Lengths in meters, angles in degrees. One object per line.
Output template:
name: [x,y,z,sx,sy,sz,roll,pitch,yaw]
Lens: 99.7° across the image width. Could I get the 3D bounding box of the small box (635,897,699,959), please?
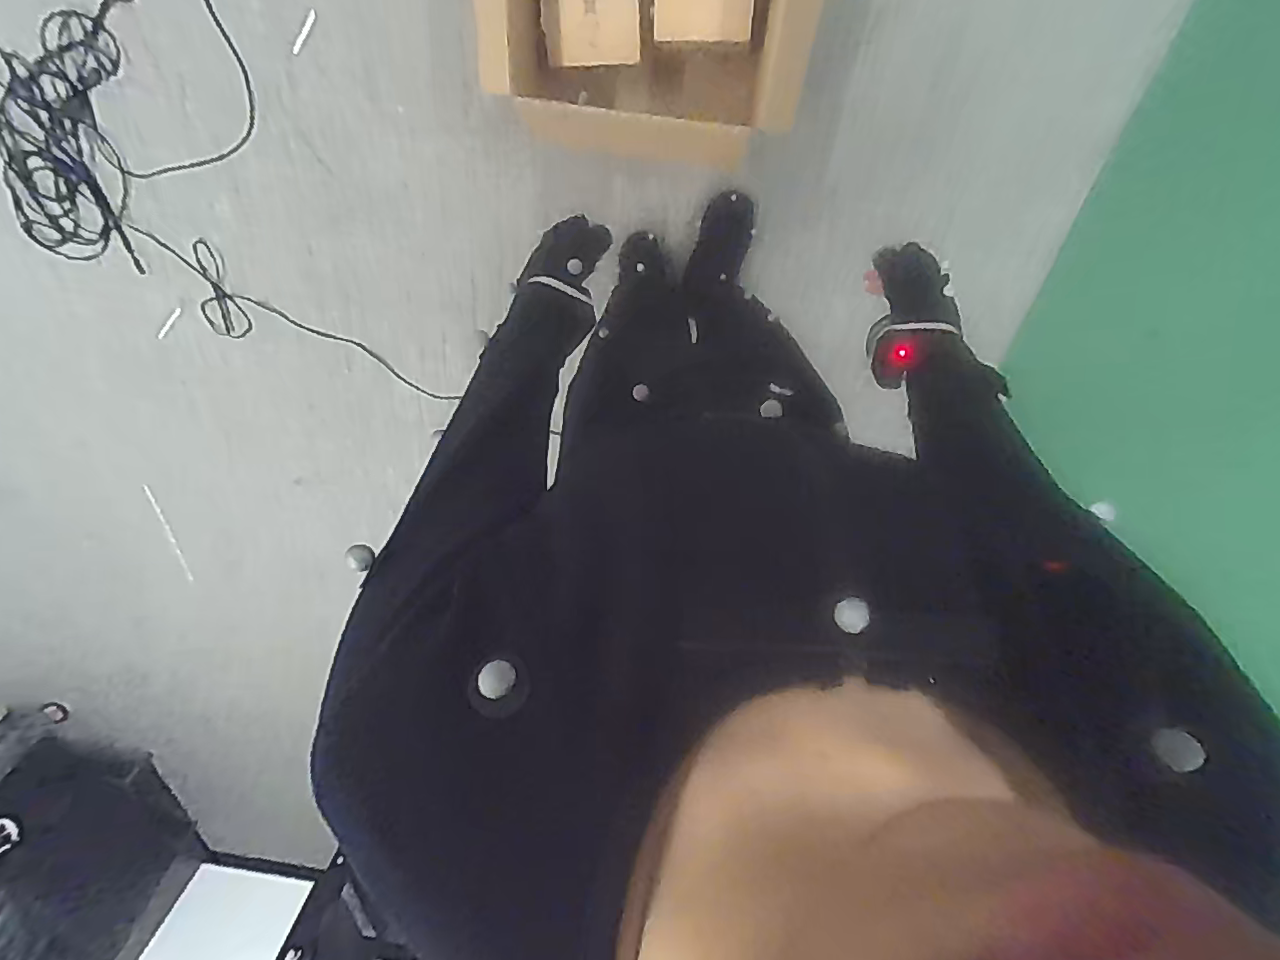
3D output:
small box: [0.076,1.328,1.547,0.168,0.176,0.179,8,125,2]
